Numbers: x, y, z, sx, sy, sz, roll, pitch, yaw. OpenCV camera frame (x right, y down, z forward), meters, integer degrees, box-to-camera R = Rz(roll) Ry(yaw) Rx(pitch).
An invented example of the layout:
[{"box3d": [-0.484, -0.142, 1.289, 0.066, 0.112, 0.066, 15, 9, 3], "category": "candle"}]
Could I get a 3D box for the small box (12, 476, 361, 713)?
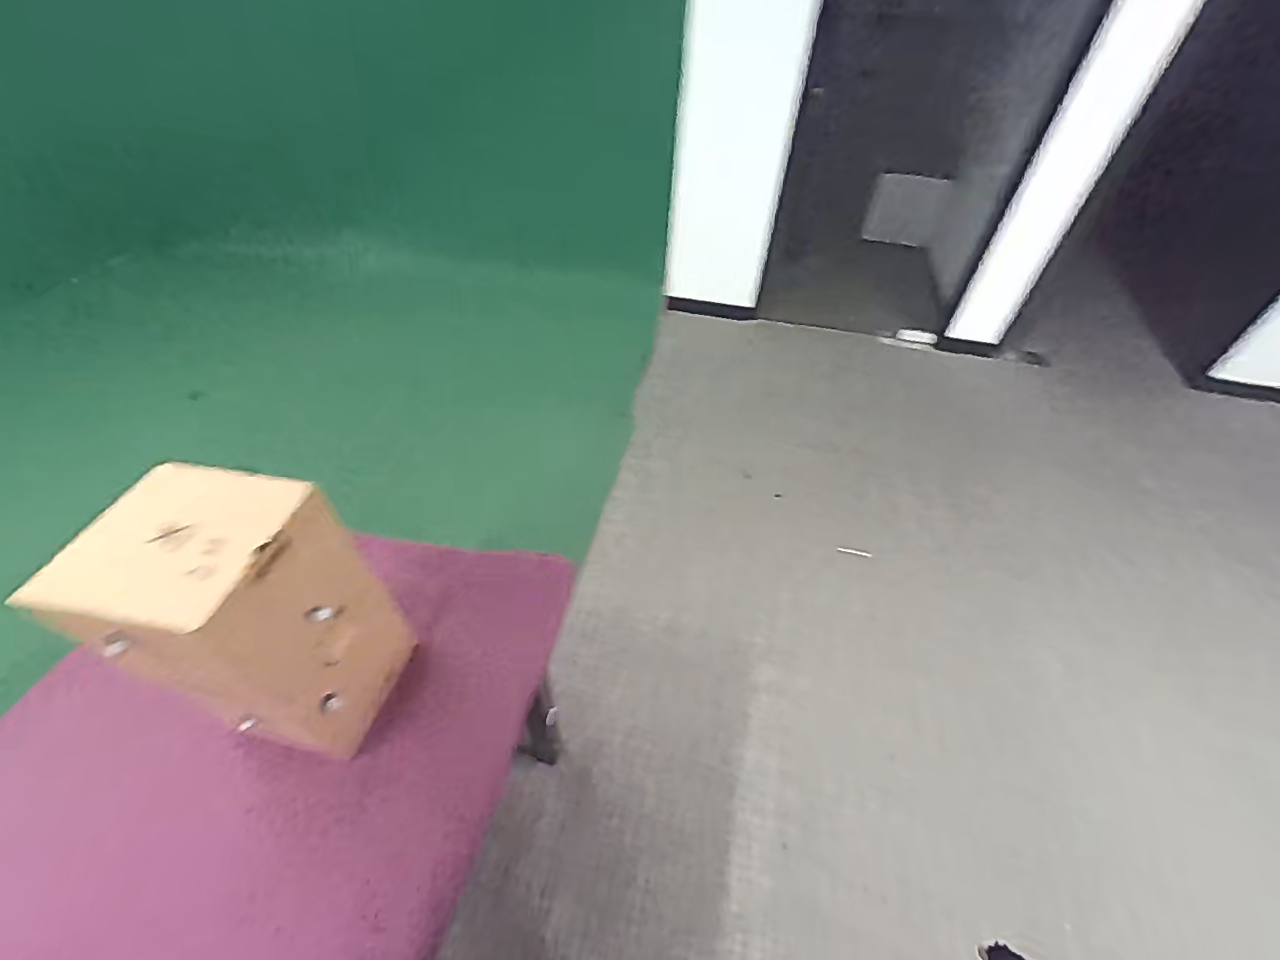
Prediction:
[{"box3d": [-0.430, 0.119, 0.554, 0.179, 0.176, 0.168, 8, 48, 6], "category": "small box"}]
